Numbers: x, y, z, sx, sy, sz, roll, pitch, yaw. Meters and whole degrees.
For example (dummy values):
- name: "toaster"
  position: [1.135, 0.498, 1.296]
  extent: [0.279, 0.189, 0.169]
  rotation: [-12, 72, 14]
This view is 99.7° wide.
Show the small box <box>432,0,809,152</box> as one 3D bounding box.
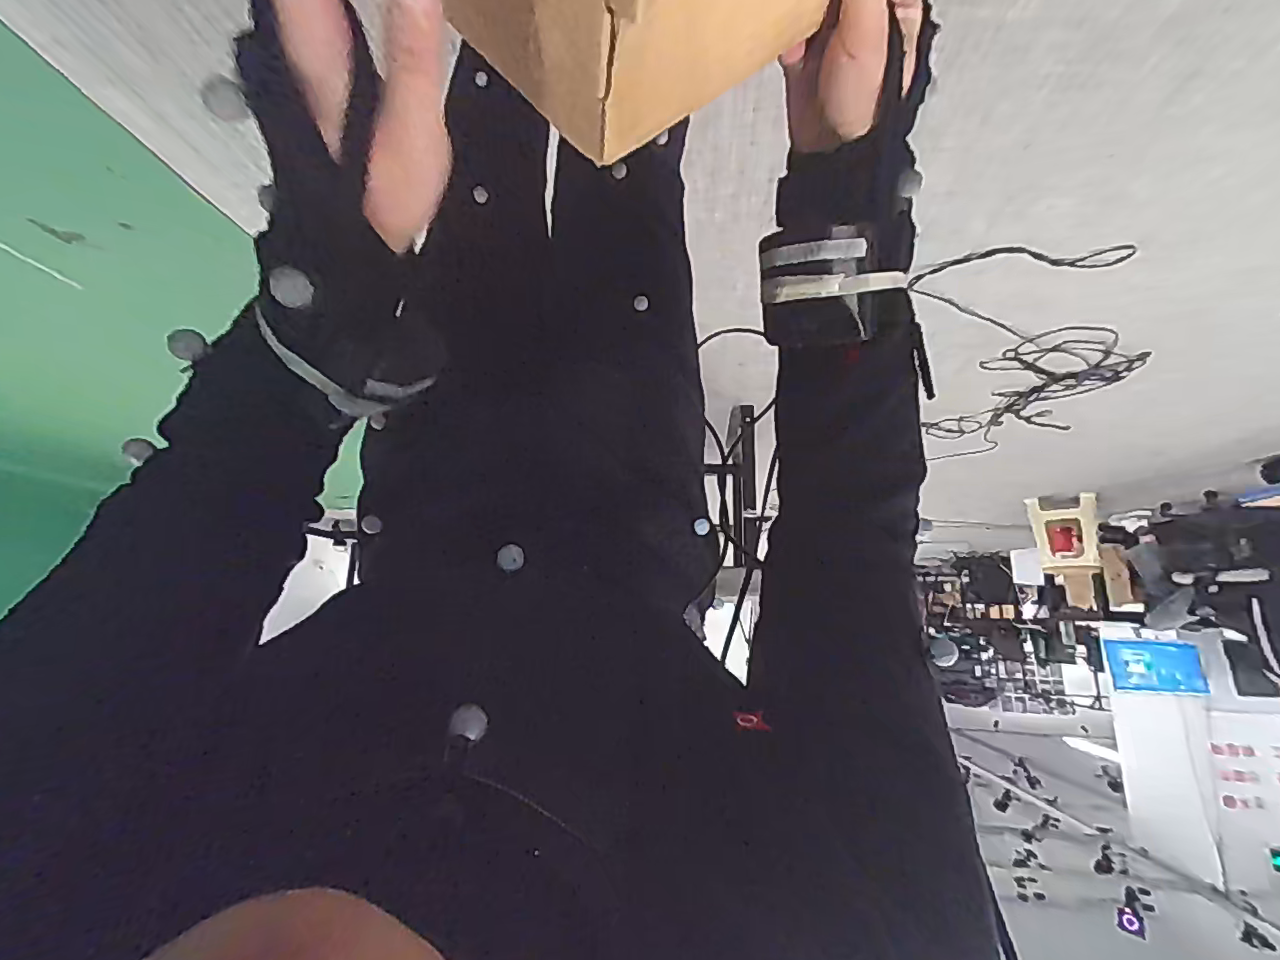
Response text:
- name: "small box"
  position: [-0.005, -0.270, 0.184]
  extent: [0.179, 0.176, 0.168]
  rotation: [46, 165, 7]
